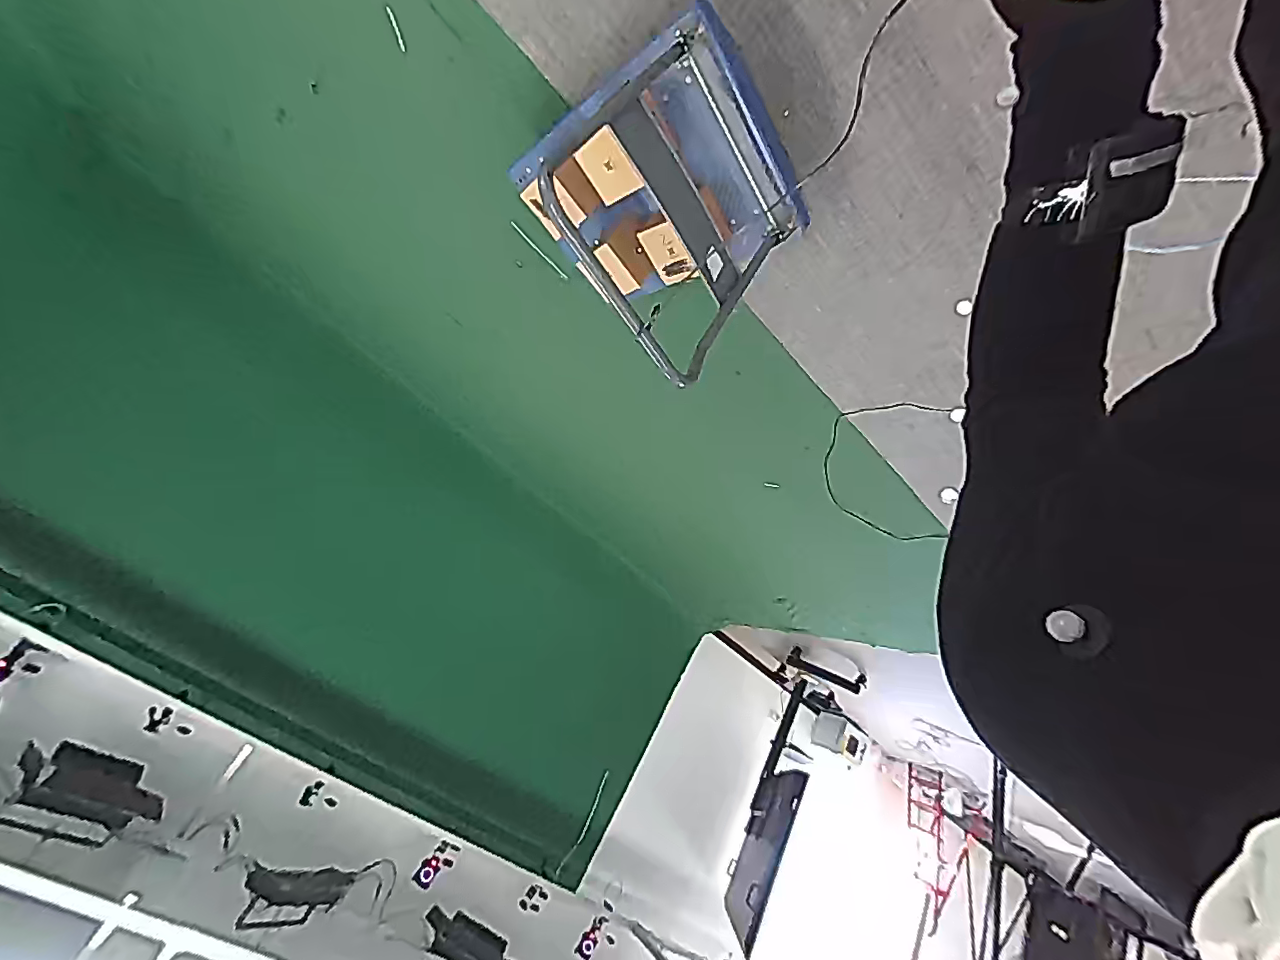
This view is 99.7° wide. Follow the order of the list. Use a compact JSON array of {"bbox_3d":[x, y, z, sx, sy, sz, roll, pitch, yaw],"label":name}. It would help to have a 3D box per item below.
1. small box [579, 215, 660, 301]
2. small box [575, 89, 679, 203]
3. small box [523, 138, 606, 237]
[{"bbox_3d":[-0.057,-0.718,1.746,0.179,0.176,0.168,-3,137,51],"label":"small box"},{"bbox_3d":[-0.030,-0.879,1.429,0.179,0.176,0.168,1,141,47],"label":"small box"},{"bbox_3d":[-0.211,-0.878,1.631,0.179,0.176,0.168,-4,138,51],"label":"small box"}]
